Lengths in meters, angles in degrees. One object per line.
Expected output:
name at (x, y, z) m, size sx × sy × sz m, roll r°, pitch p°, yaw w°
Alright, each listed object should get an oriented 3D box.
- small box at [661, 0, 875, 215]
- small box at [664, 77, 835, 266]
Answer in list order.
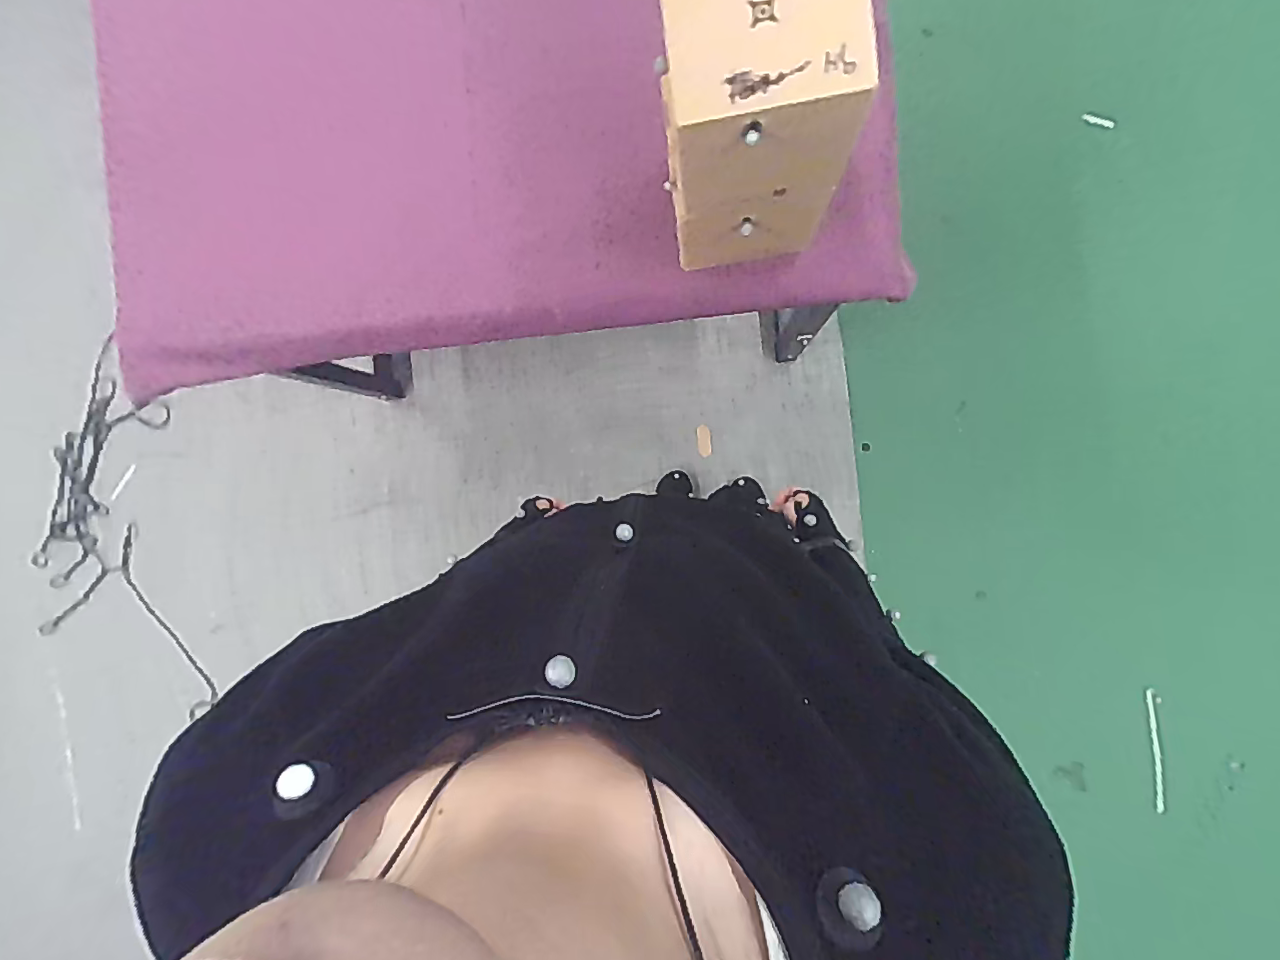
small box at (0.112, -0.392, 0.522) m, size 0.168 × 0.176 × 0.179 m, roll -7°, pitch 90°, yaw 10°
small box at (0.132, -0.393, 0.685) m, size 0.179 × 0.176 × 0.168 m, roll -8°, pitch 90°, yaw 9°
